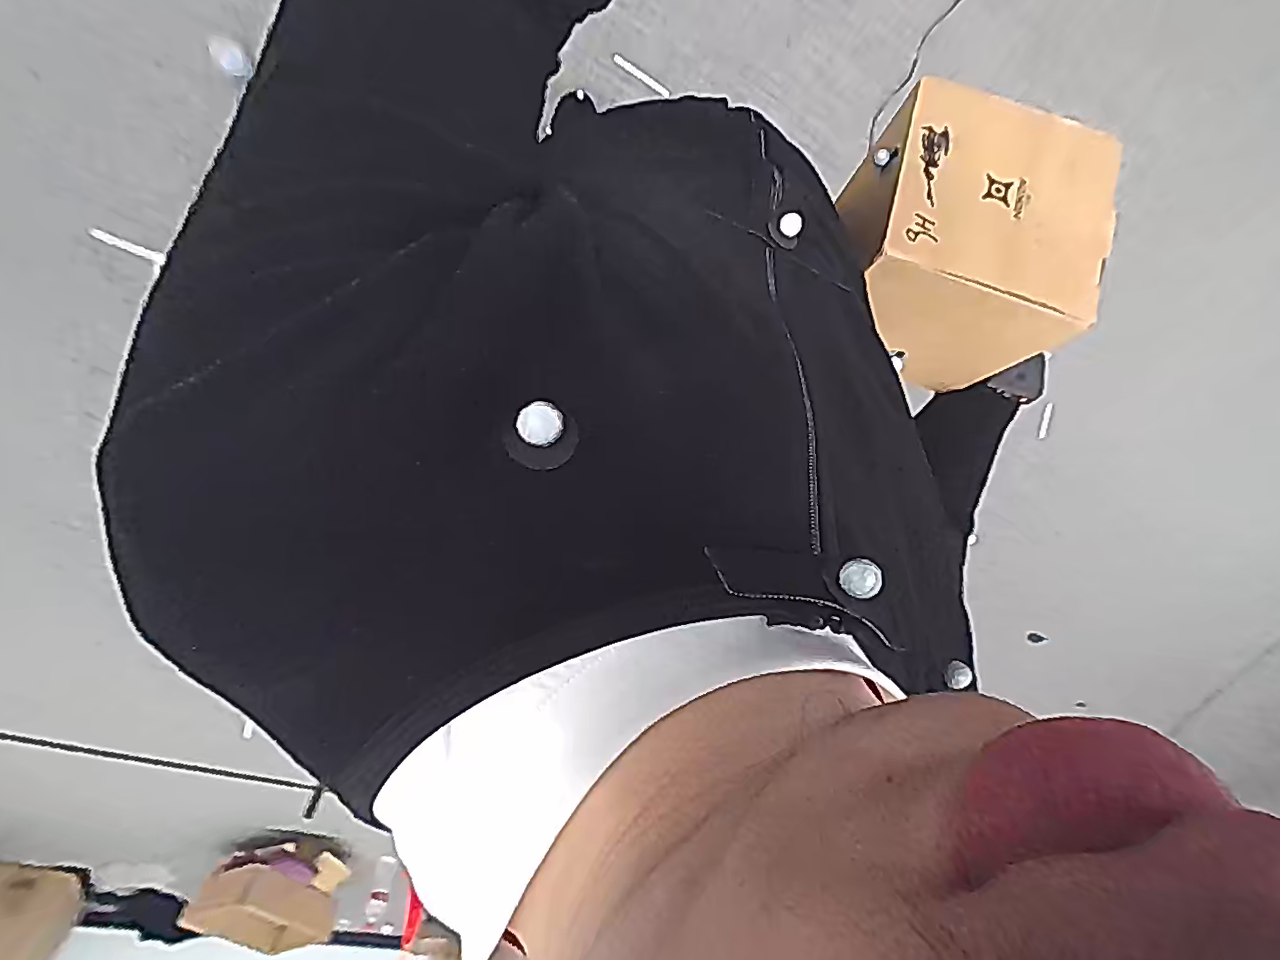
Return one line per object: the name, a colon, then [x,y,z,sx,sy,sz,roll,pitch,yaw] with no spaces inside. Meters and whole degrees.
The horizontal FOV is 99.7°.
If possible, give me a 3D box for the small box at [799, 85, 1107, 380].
small box: [0.279,-0.211,0.513,0.179,0.176,0.168,17,79,-3]
